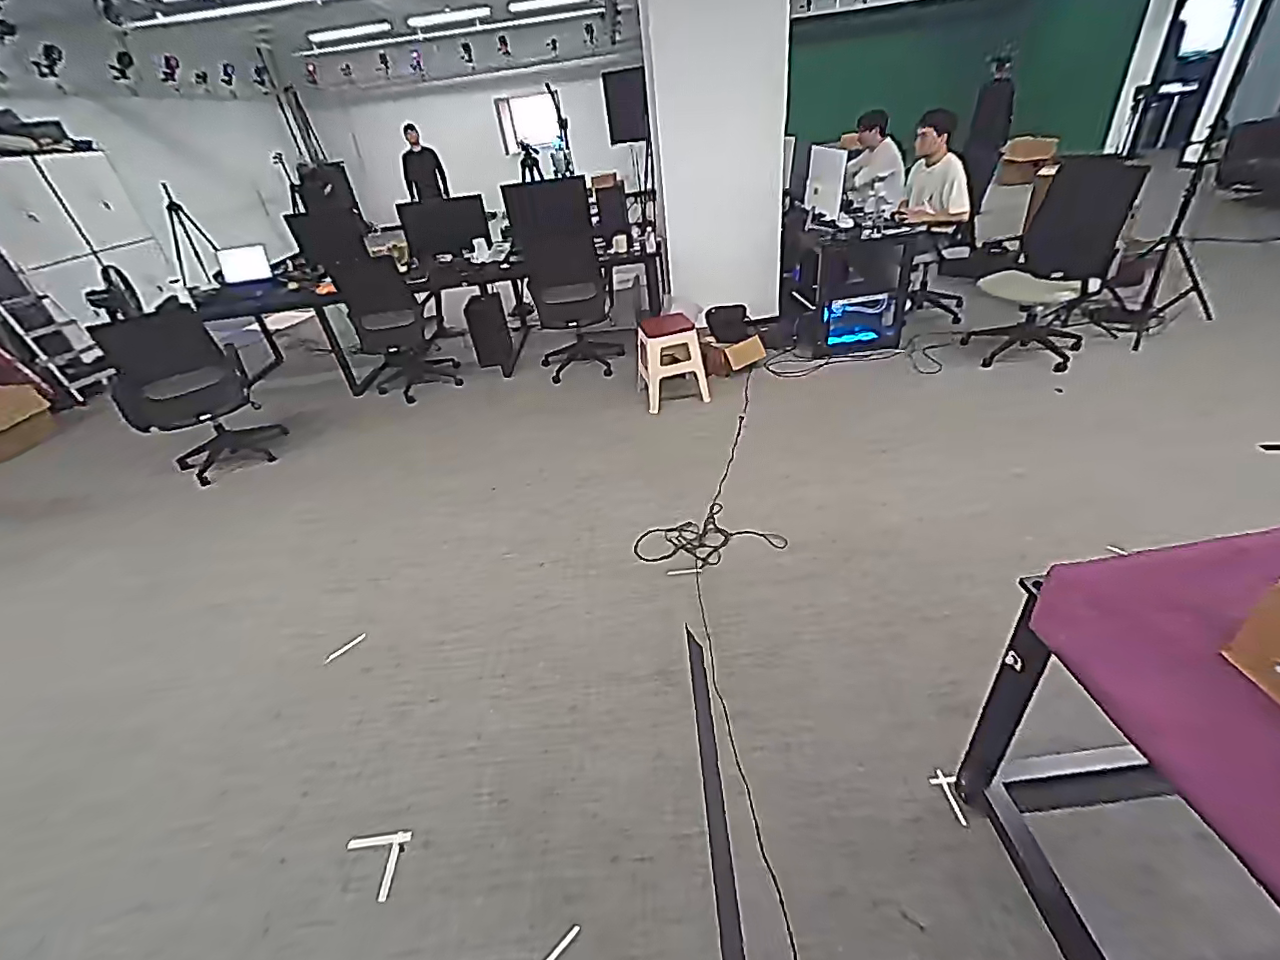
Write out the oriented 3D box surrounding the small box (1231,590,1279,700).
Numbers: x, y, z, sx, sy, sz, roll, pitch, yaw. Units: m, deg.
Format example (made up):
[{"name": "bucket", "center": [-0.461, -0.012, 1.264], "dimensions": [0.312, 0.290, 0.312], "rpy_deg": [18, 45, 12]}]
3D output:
[{"name": "small box", "center": [0.990, 0.234, 0.730], "dimensions": [0.179, 0.176, 0.168], "rpy_deg": [-9, 35, 1]}]
